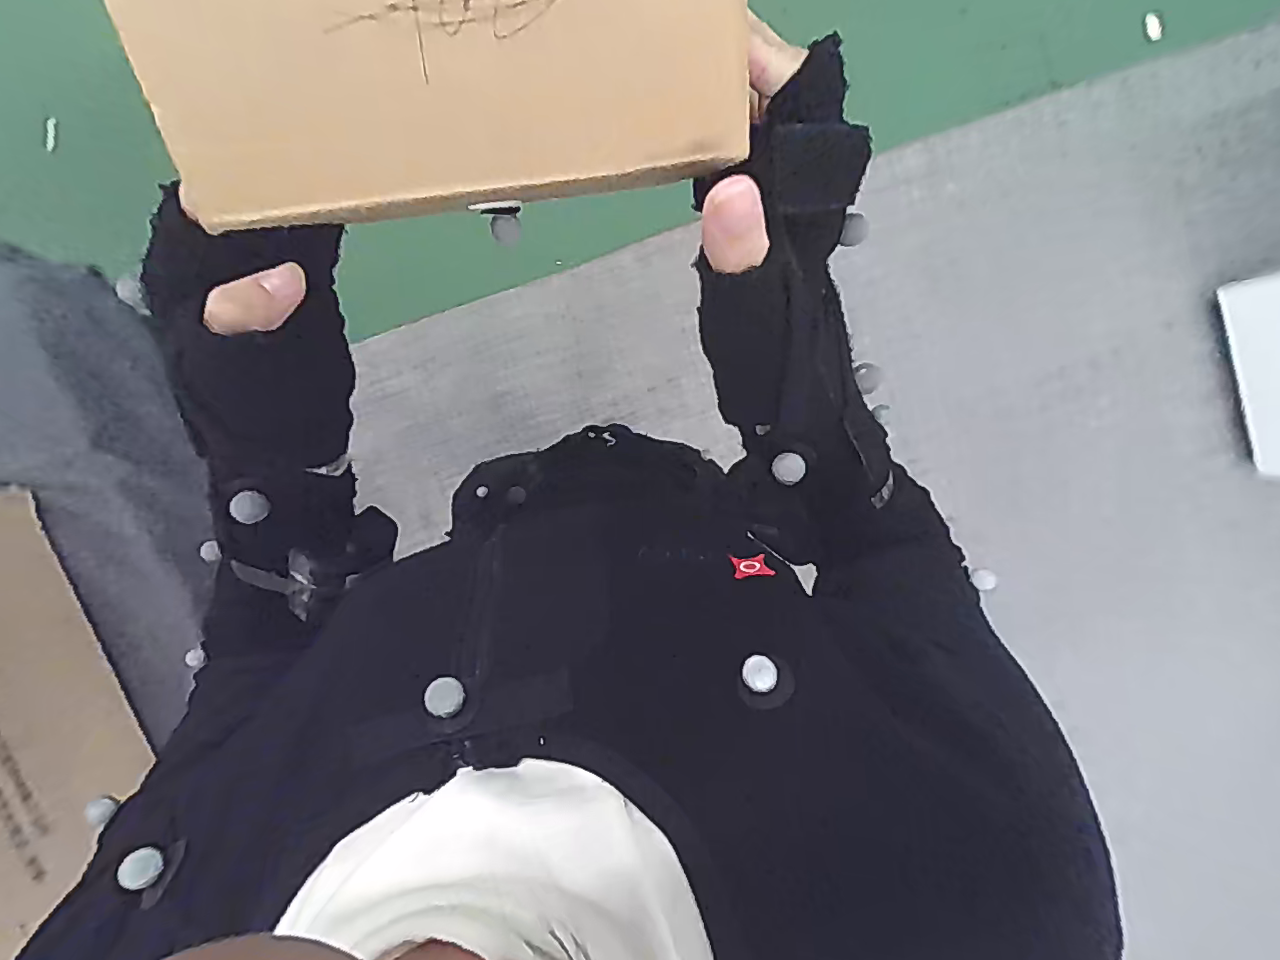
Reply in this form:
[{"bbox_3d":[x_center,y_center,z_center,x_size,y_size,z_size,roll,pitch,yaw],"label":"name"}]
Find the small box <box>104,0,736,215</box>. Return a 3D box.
[{"bbox_3d":[-0.066,-0.201,0.197,0.168,0.176,0.179,-8,117,-1],"label":"small box"}]
